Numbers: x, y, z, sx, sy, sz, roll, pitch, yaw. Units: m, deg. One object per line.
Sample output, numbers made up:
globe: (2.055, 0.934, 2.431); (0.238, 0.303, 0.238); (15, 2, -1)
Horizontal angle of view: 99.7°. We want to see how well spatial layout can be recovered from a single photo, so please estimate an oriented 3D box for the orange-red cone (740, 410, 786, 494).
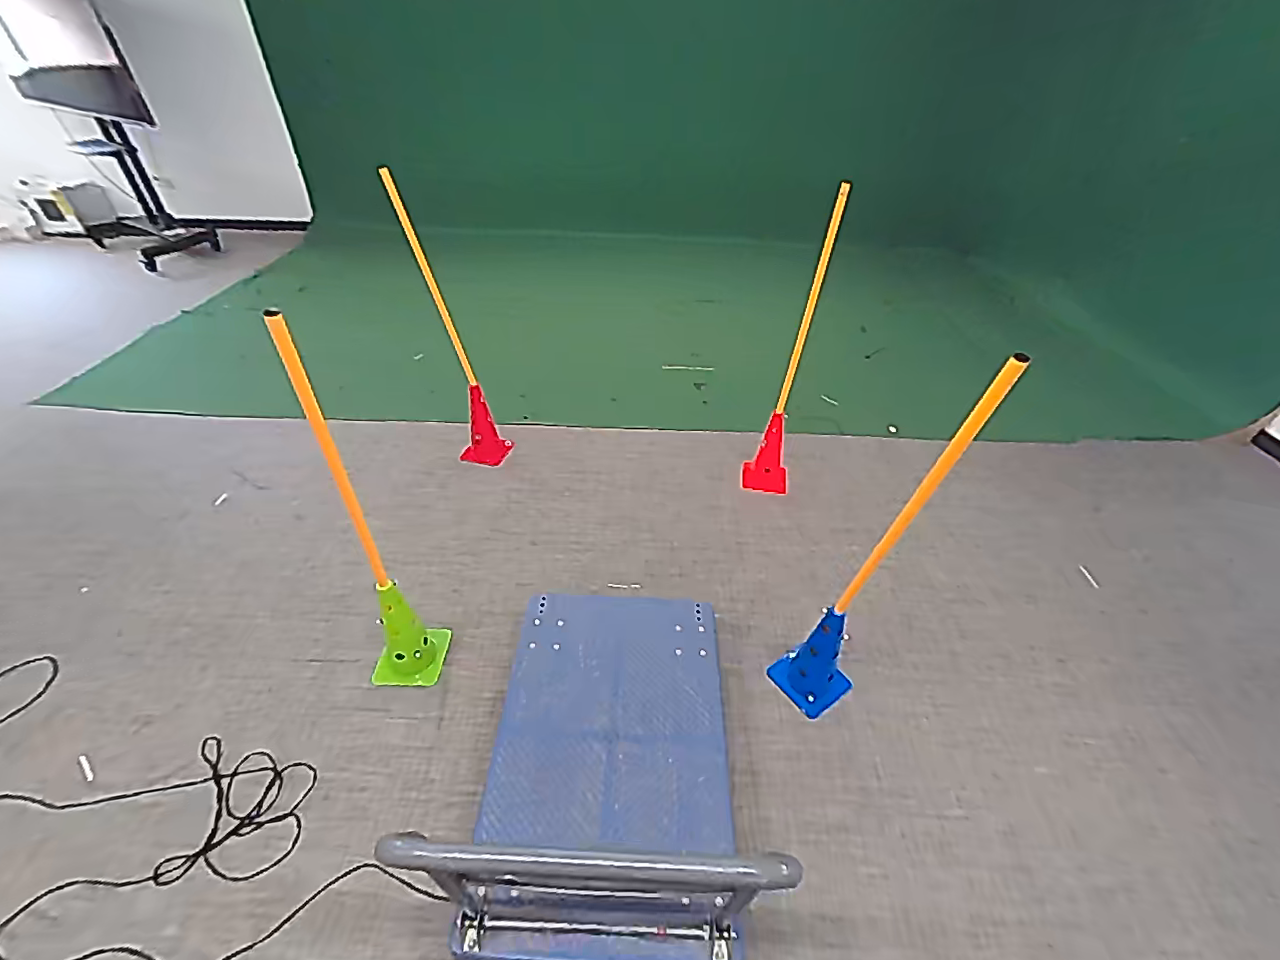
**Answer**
orange-red cone: (0.559, -0.141, 2.330); (0.198, 0.360, 0.199); (9, 41, 9)
